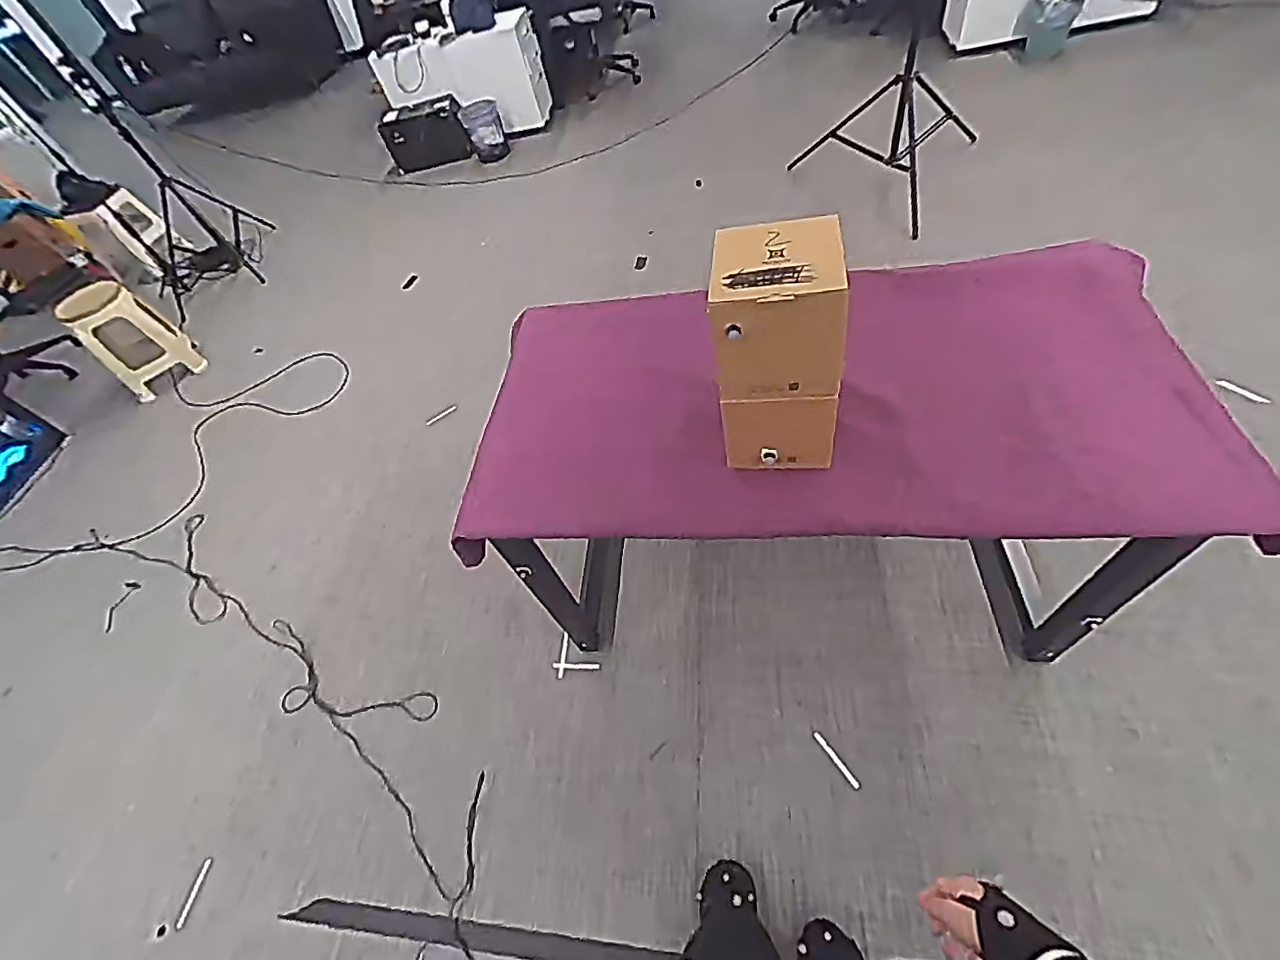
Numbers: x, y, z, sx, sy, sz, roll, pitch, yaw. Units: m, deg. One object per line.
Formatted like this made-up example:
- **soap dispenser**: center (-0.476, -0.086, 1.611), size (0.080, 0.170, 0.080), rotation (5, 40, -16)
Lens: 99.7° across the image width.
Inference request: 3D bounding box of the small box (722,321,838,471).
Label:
- **small box**: center (0.226, -0.134, 0.885), size (0.168, 0.176, 0.179), rotation (-1, 54, 14)
